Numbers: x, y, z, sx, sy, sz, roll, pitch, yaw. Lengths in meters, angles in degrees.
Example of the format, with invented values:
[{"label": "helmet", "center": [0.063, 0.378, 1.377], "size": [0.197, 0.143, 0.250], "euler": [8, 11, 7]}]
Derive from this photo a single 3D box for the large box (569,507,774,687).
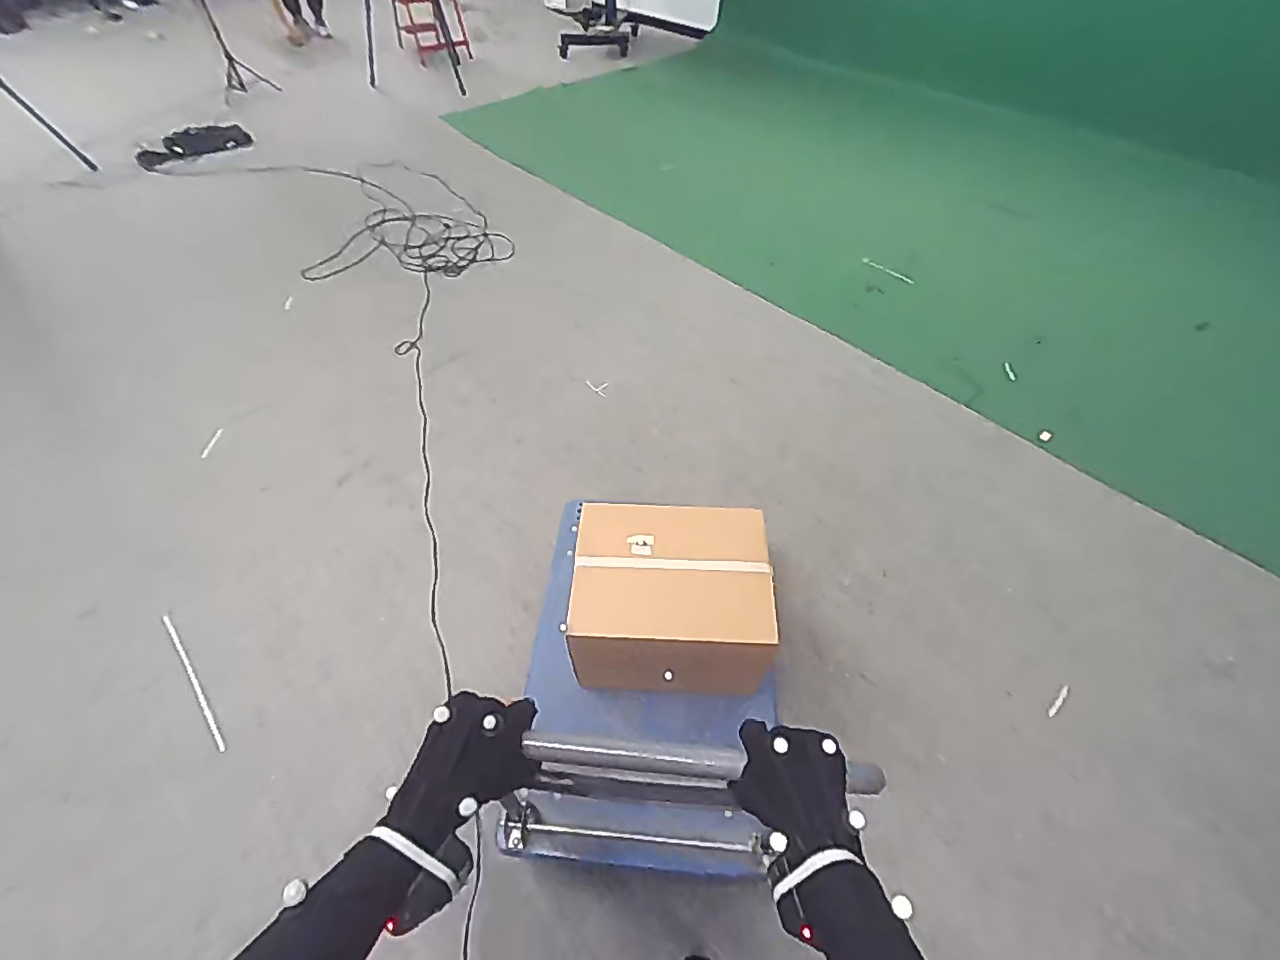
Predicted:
[{"label": "large box", "center": [0.066, 0.274, 1.244], "size": [0.408, 0.320, 0.320], "euler": [1, 51, 2]}]
